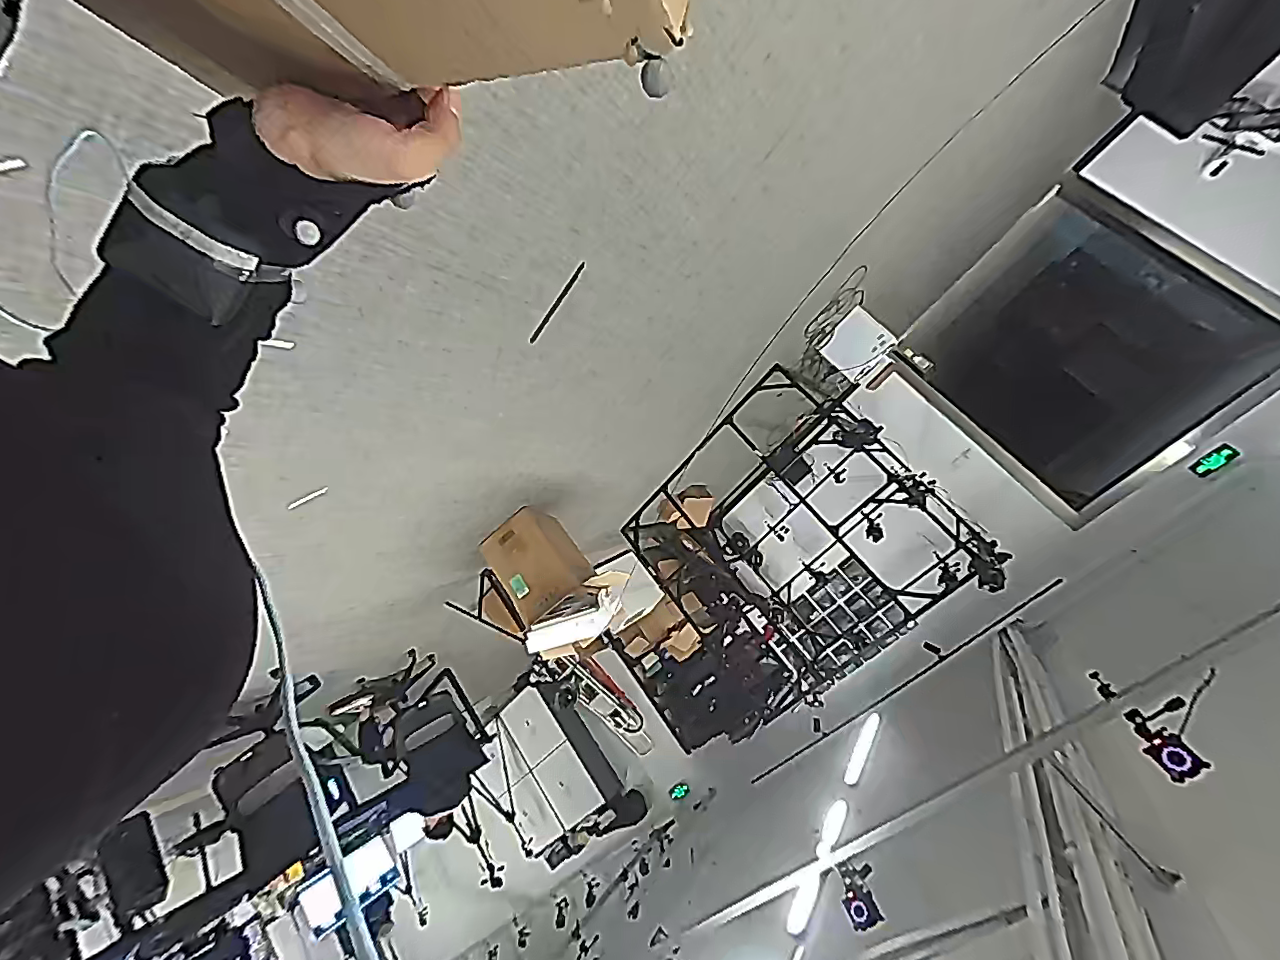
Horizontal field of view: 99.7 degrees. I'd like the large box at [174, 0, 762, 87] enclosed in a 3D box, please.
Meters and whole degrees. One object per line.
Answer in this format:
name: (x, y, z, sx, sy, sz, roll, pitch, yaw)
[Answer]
large box: (-0.137, -0.370, 0.086, 0.408, 0.320, 0.320, 9, 96, -63)
